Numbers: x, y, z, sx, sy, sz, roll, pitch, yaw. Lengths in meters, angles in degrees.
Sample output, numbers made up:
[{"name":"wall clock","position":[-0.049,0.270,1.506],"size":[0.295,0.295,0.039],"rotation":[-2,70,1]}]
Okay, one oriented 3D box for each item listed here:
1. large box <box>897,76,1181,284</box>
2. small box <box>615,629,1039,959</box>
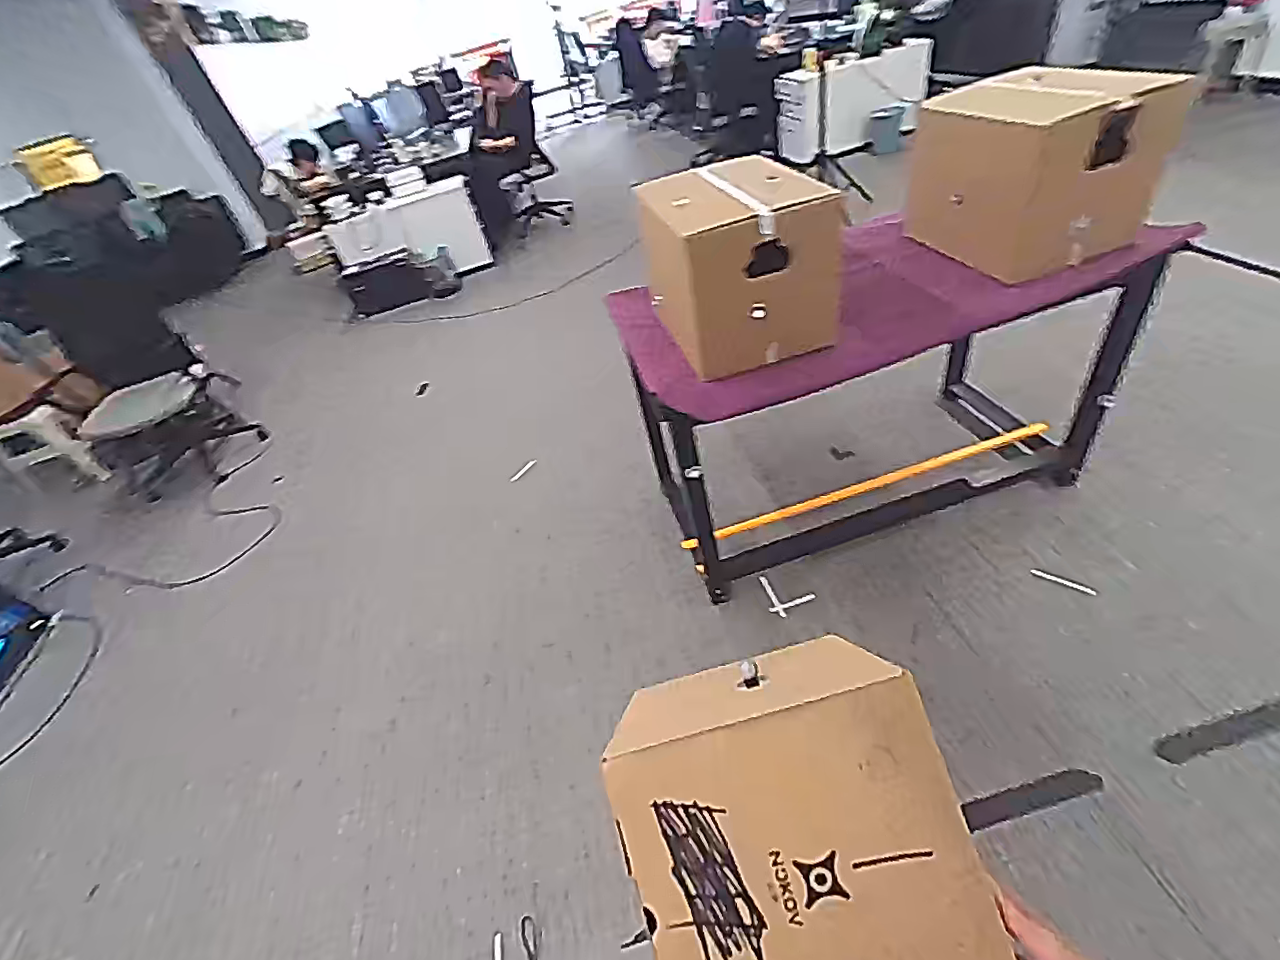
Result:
[{"name":"large box","position":[0.858,-0.698,1.246],"size":[0.320,0.320,0.408],"rotation":[-18,40,-3]},{"name":"small box","position":[0.098,0.206,0.351],"size":[0.179,0.176,0.168],"rotation":[-17,80,3]}]
